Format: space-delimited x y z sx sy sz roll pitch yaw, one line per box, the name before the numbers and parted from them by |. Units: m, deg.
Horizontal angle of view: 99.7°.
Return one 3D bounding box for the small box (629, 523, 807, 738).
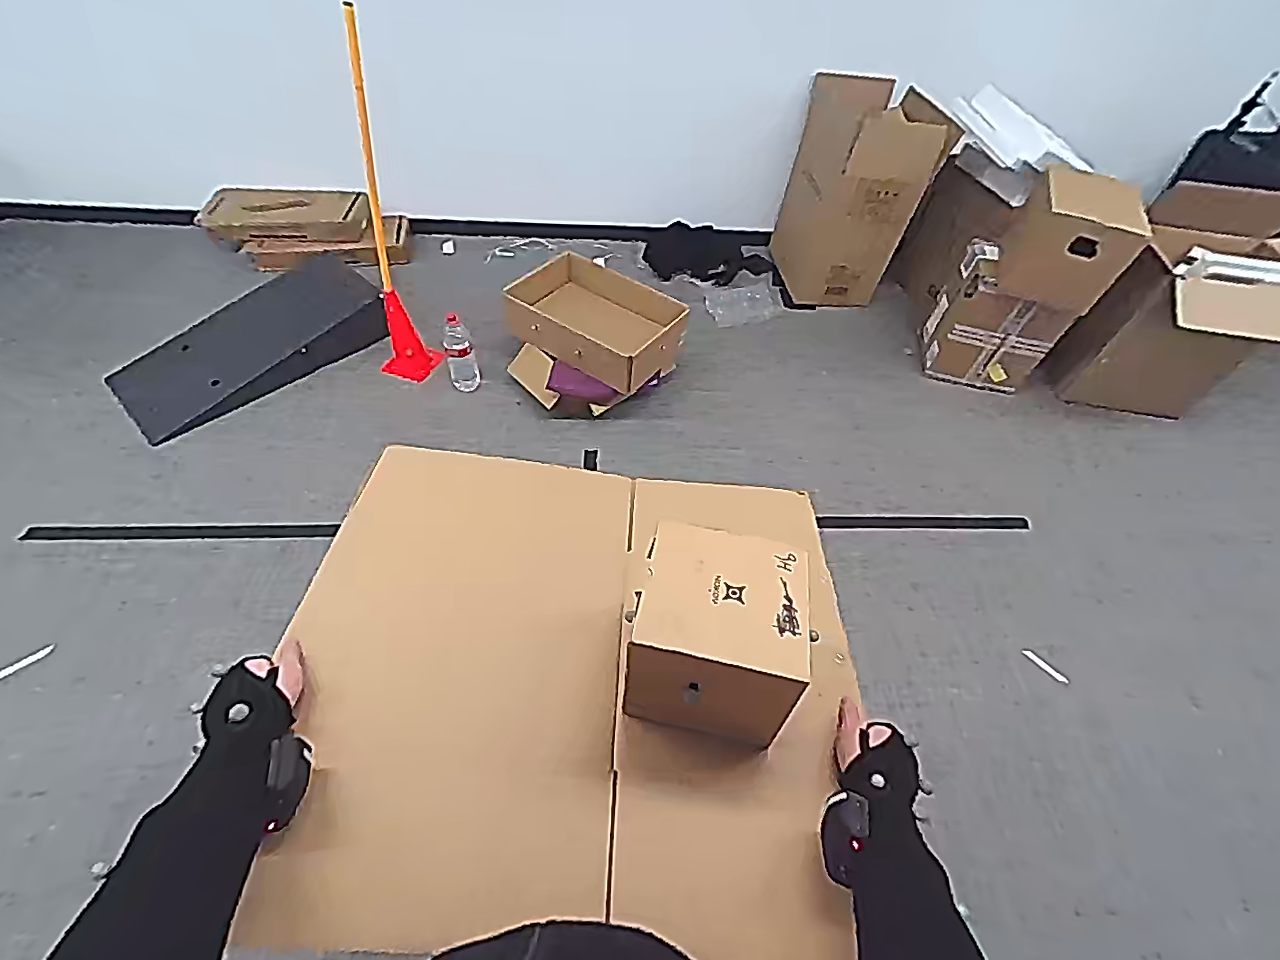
small box | 0.087 0.178 0.632 0.179 0.176 0.168 10 45 7
